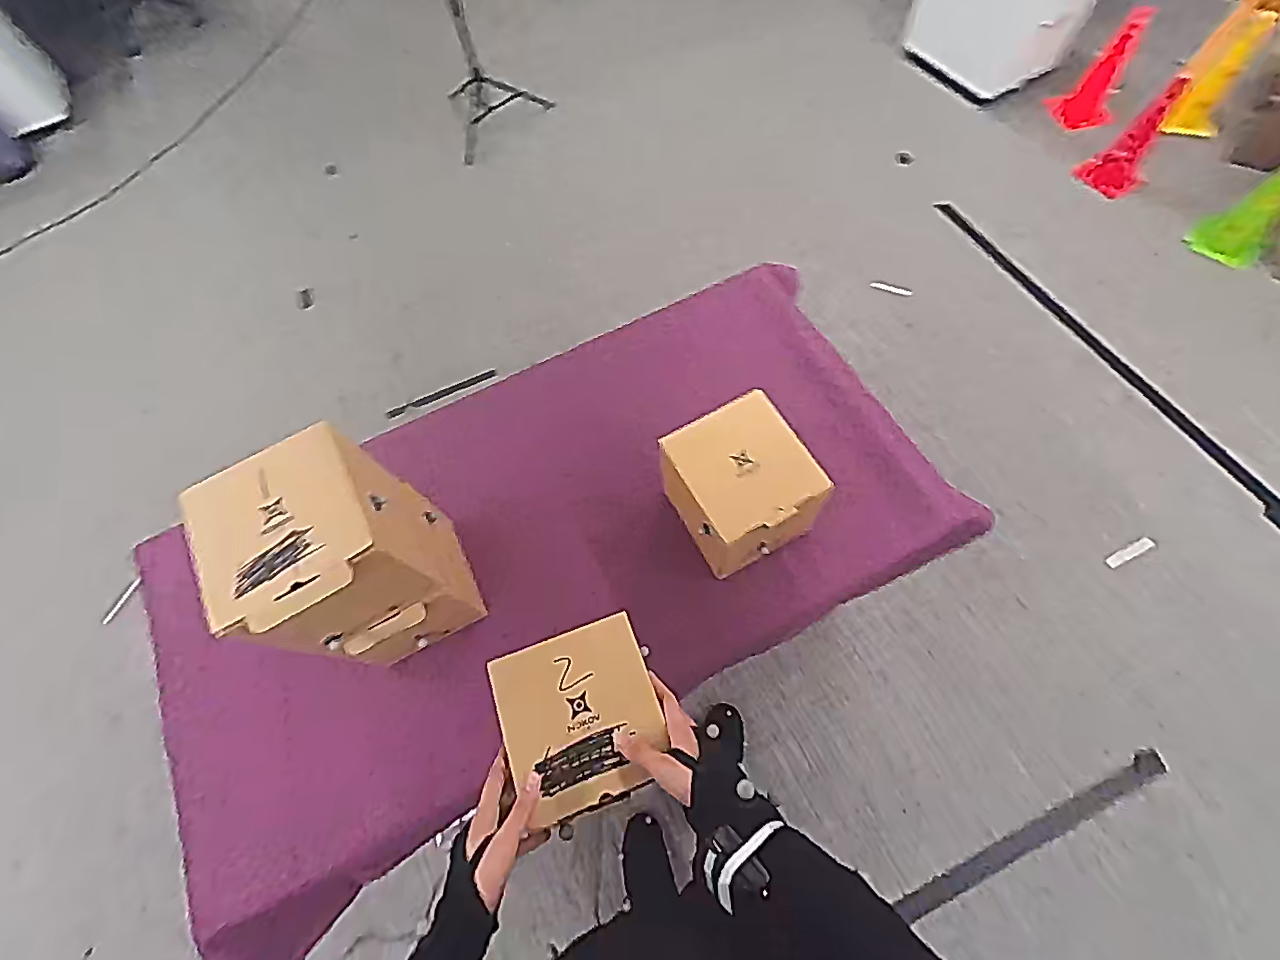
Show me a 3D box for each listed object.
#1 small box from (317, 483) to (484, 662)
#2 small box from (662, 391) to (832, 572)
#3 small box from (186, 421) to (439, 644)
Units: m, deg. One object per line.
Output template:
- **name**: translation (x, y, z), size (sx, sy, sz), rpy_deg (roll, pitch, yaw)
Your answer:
- **small box**: translation (-0.348, 0.139, 0.772), size (0.168, 0.176, 0.179), rpy_deg (-26, 67, -7)
- **small box**: translation (0.144, 0.009, 0.794), size (0.168, 0.176, 0.179), rpy_deg (-28, 67, -8)
- **small box**: translation (-0.361, 0.072, 0.623), size (0.168, 0.176, 0.179), rpy_deg (-30, 66, -9)
